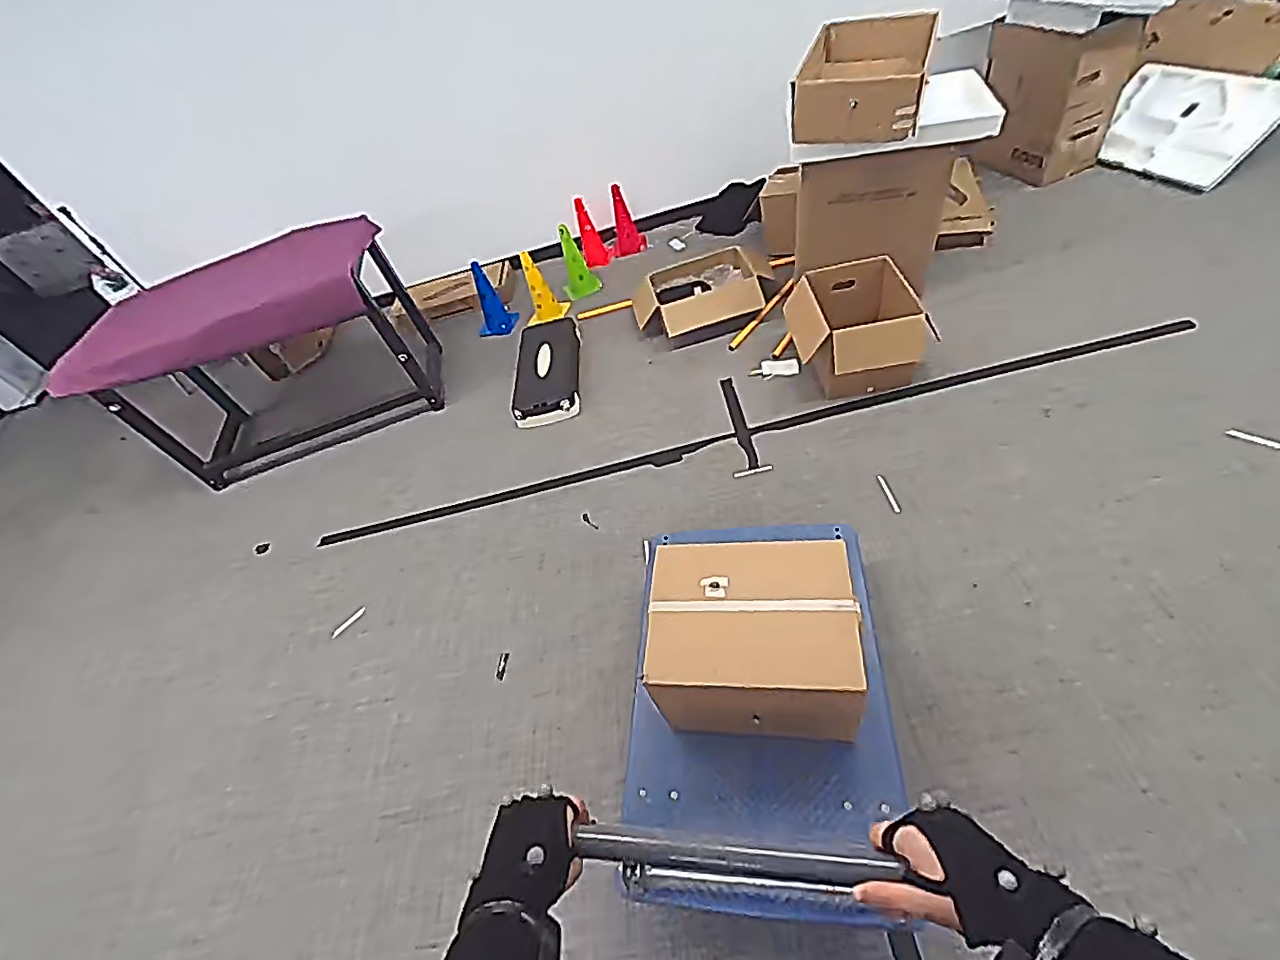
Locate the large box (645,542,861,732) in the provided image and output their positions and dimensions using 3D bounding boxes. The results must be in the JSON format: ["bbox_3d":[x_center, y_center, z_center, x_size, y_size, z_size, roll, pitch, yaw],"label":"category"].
[{"bbox_3d":[0.252,0.359,1.209,0.408,0.320,0.320,-5,48,15],"label":"large box"}]
